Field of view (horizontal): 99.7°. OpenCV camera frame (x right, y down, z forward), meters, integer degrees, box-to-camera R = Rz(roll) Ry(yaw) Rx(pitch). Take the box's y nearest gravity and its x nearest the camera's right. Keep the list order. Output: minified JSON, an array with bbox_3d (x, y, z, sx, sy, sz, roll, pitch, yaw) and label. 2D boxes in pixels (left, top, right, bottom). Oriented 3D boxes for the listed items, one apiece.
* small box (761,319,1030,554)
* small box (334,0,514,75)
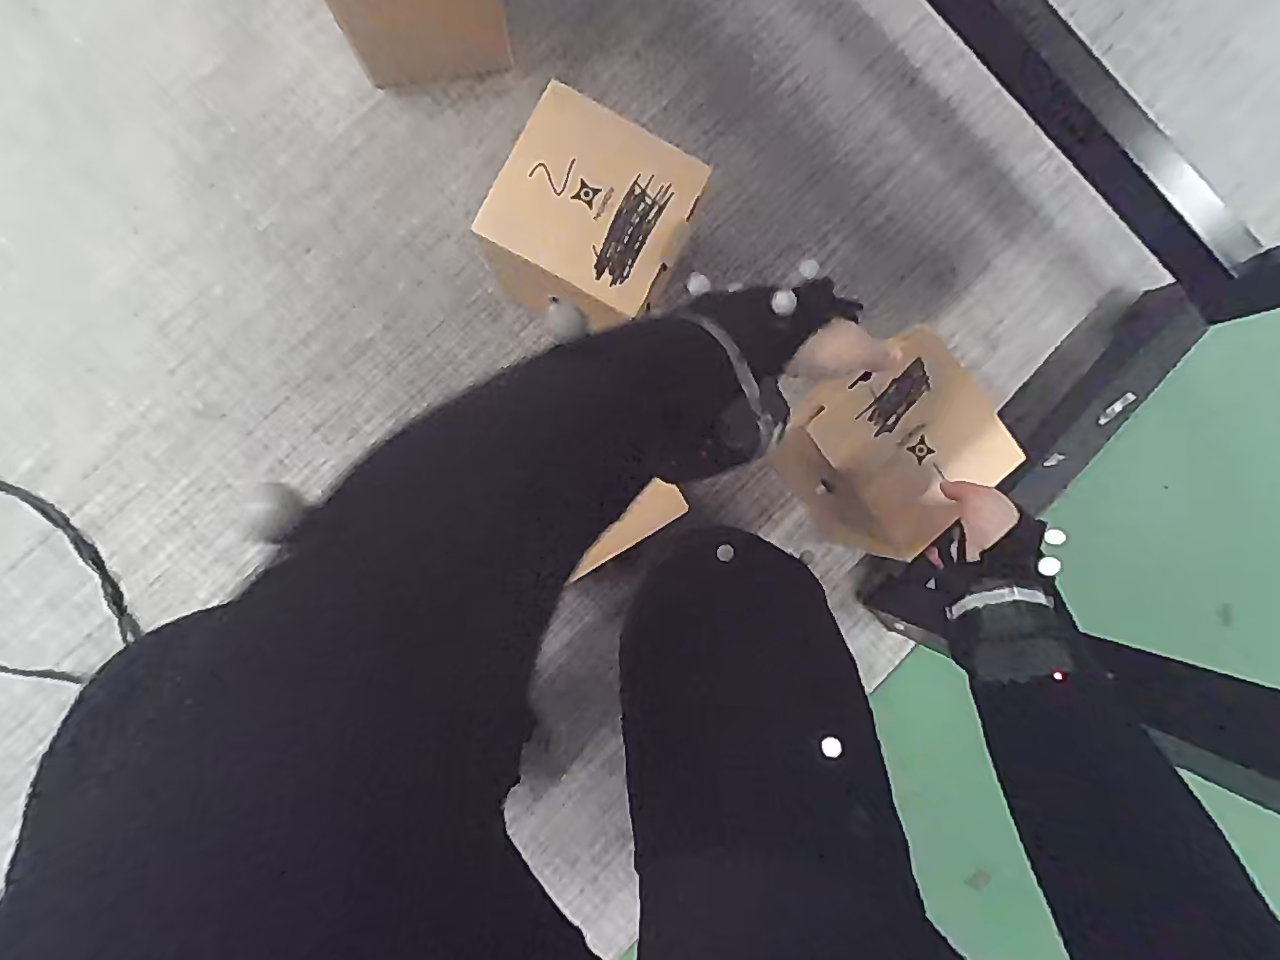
[{"bbox_3d":[0.263,-0.041,0.603,0.168,0.176,0.179,-39,93,-4],"label":"small box"},{"bbox_3d":[-0.246,-0.572,0.573,0.179,0.176,0.168,-12,90,-5],"label":"small box"}]
